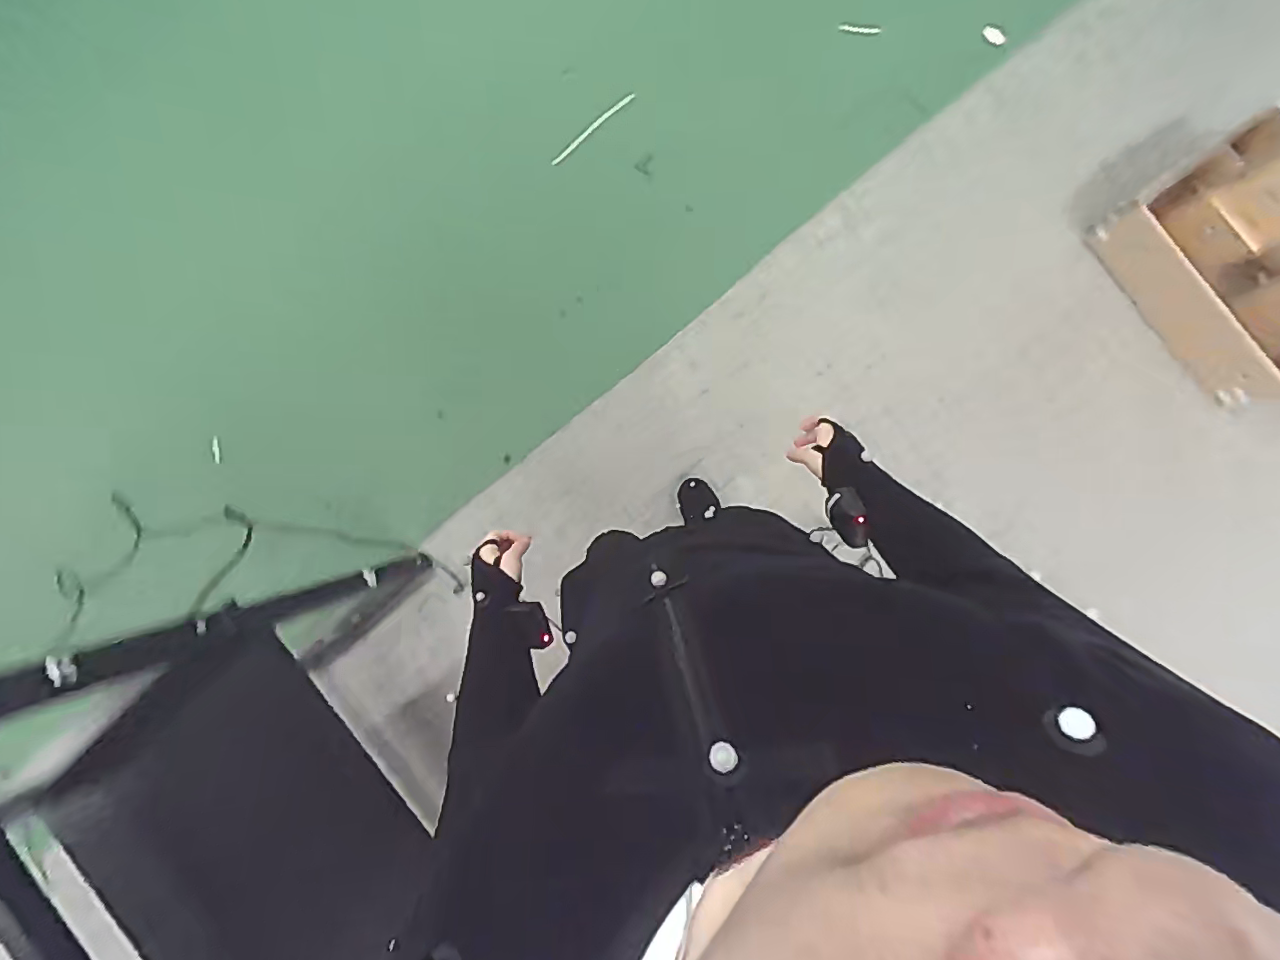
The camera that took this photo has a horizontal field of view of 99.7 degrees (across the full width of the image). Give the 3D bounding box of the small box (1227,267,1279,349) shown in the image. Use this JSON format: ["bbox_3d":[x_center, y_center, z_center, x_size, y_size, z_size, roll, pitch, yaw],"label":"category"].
[{"bbox_3d":[1.638,-0.441,1.327,0.168,0.176,0.179,-34,86,6],"label":"small box"}]

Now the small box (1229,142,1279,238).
[{"bbox_3d":[1.469,-0.672,1.182,0.179,0.176,0.168,-41,87,5],"label":"small box"}]
